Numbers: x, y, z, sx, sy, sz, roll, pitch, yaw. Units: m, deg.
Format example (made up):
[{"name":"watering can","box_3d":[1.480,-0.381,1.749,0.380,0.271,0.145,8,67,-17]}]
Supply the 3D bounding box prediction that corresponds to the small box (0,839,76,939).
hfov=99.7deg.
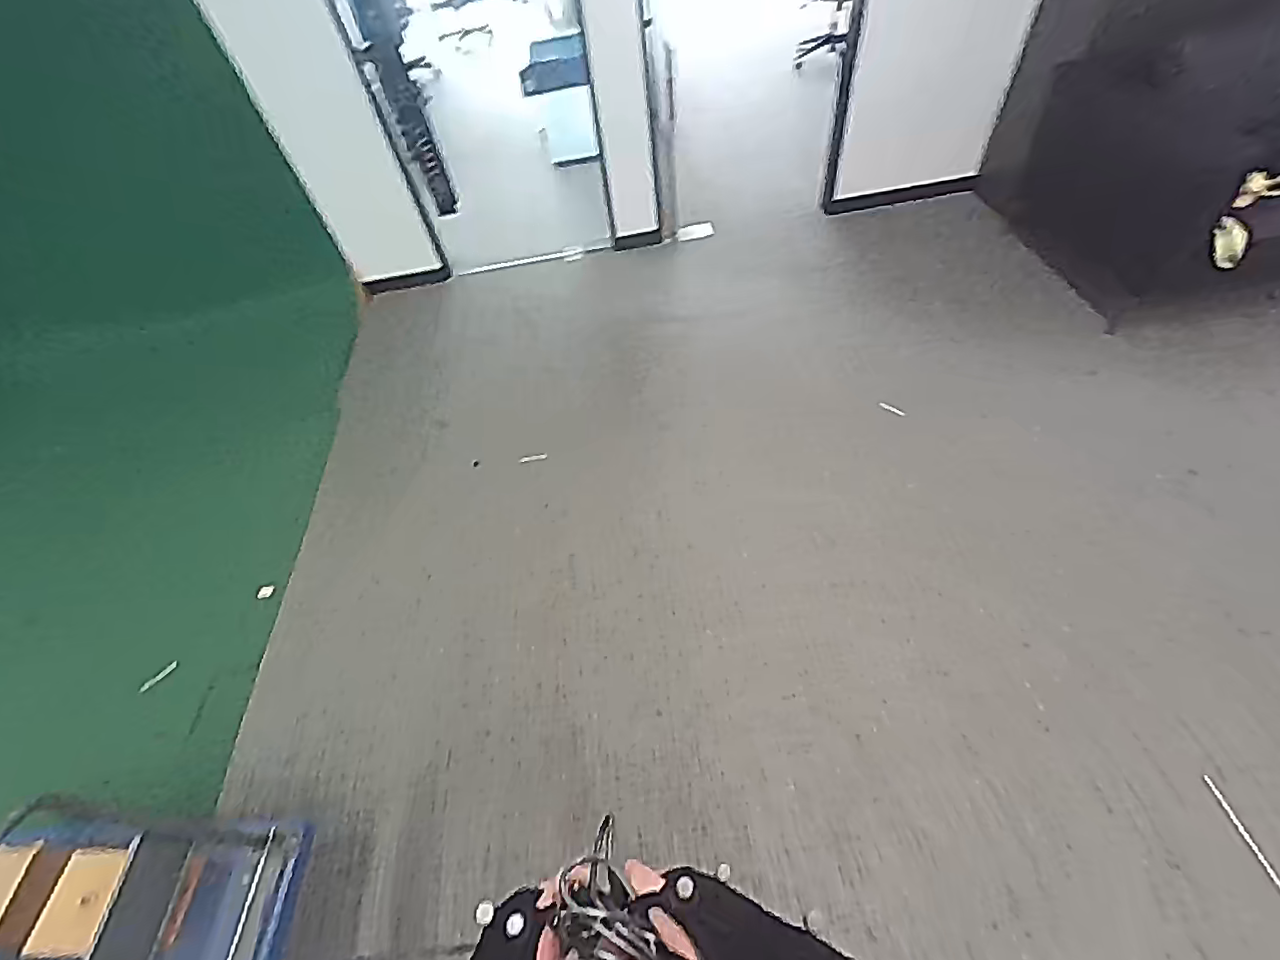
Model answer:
[{"name":"small box","box_3d":[-1.360,0.886,1.170,0.179,0.176,0.168,-4,53,2]}]

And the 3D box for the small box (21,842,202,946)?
[{"name":"small box","box_3d":[-1.104,0.877,1.148,0.179,0.176,0.168,-2,52,4]}]
